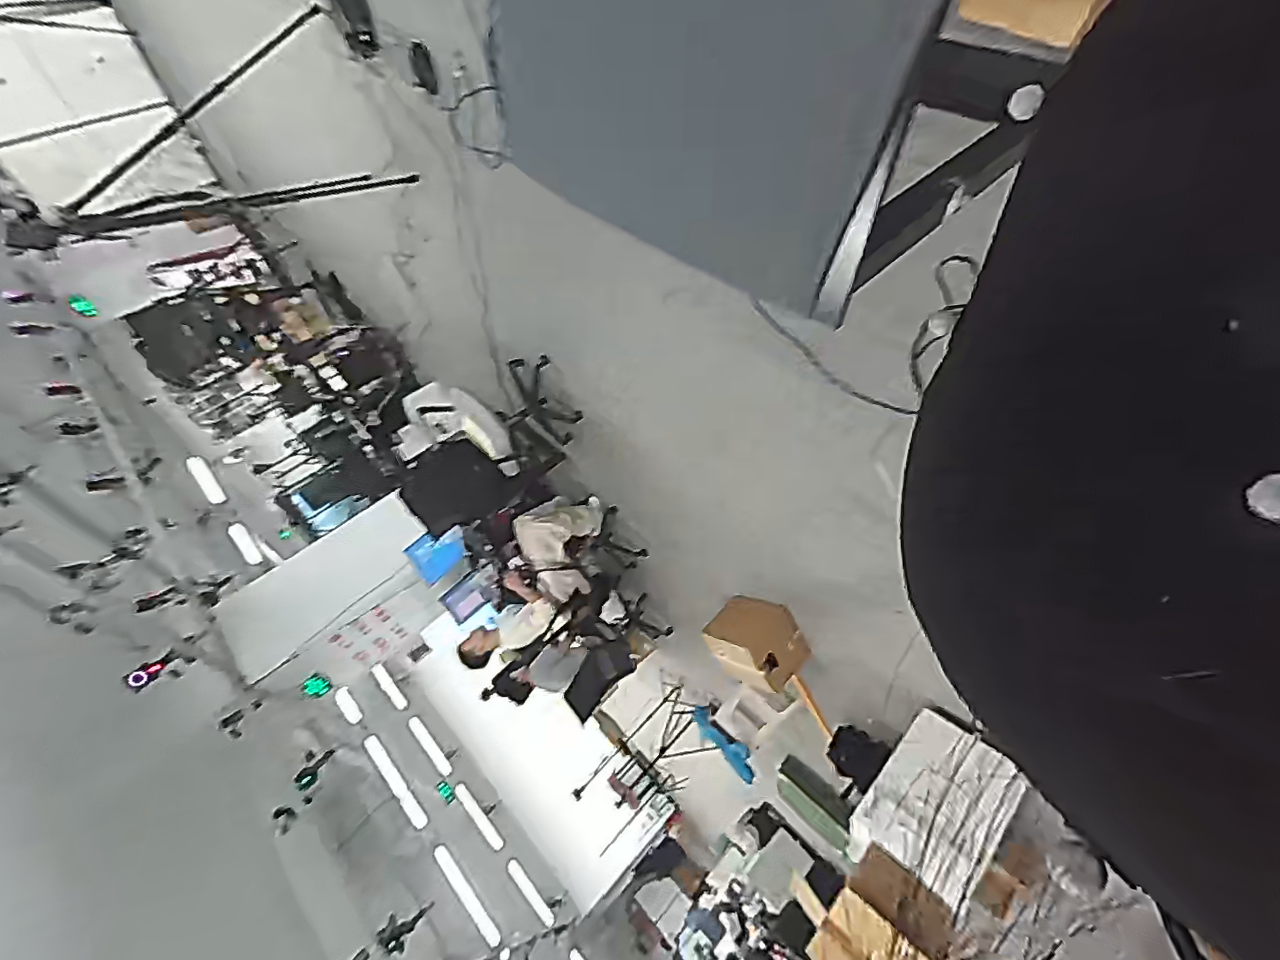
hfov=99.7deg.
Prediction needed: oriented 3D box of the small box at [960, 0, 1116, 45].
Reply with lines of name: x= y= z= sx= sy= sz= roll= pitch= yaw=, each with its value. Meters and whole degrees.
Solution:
small box: x=0.620 y=-0.772 z=0.778 sx=0.179 sy=0.176 sz=0.168 roll=41 pitch=154 yaw=22
